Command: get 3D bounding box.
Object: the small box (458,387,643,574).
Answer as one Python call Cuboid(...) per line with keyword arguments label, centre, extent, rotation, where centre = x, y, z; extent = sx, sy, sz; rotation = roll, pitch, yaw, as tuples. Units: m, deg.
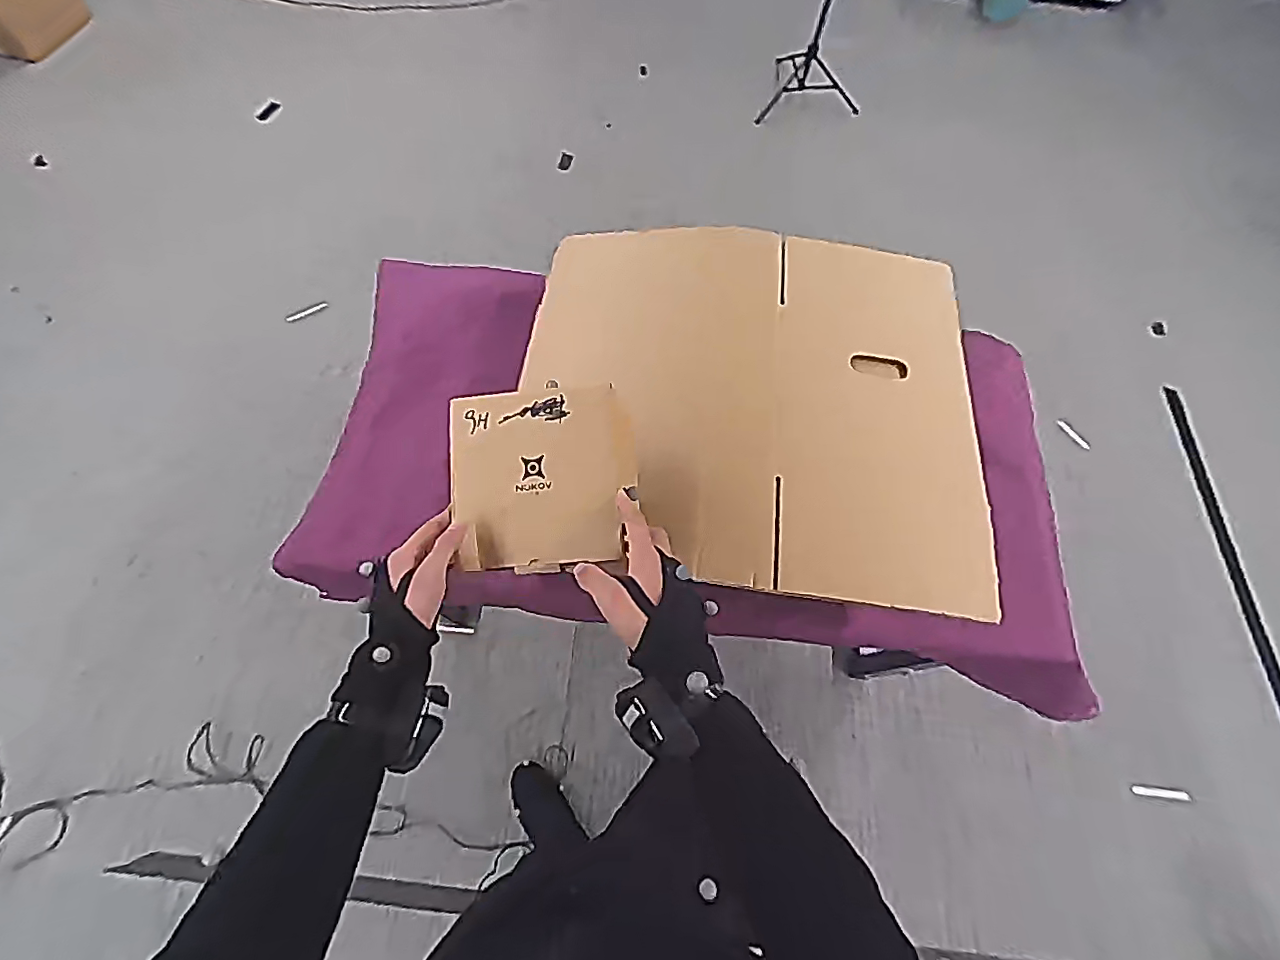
Cuboid(label="small box", centre=(-0.089, 0.009, 0.606), extent=(0.168, 0.176, 0.179), rotation=(-4, 81, 6))
